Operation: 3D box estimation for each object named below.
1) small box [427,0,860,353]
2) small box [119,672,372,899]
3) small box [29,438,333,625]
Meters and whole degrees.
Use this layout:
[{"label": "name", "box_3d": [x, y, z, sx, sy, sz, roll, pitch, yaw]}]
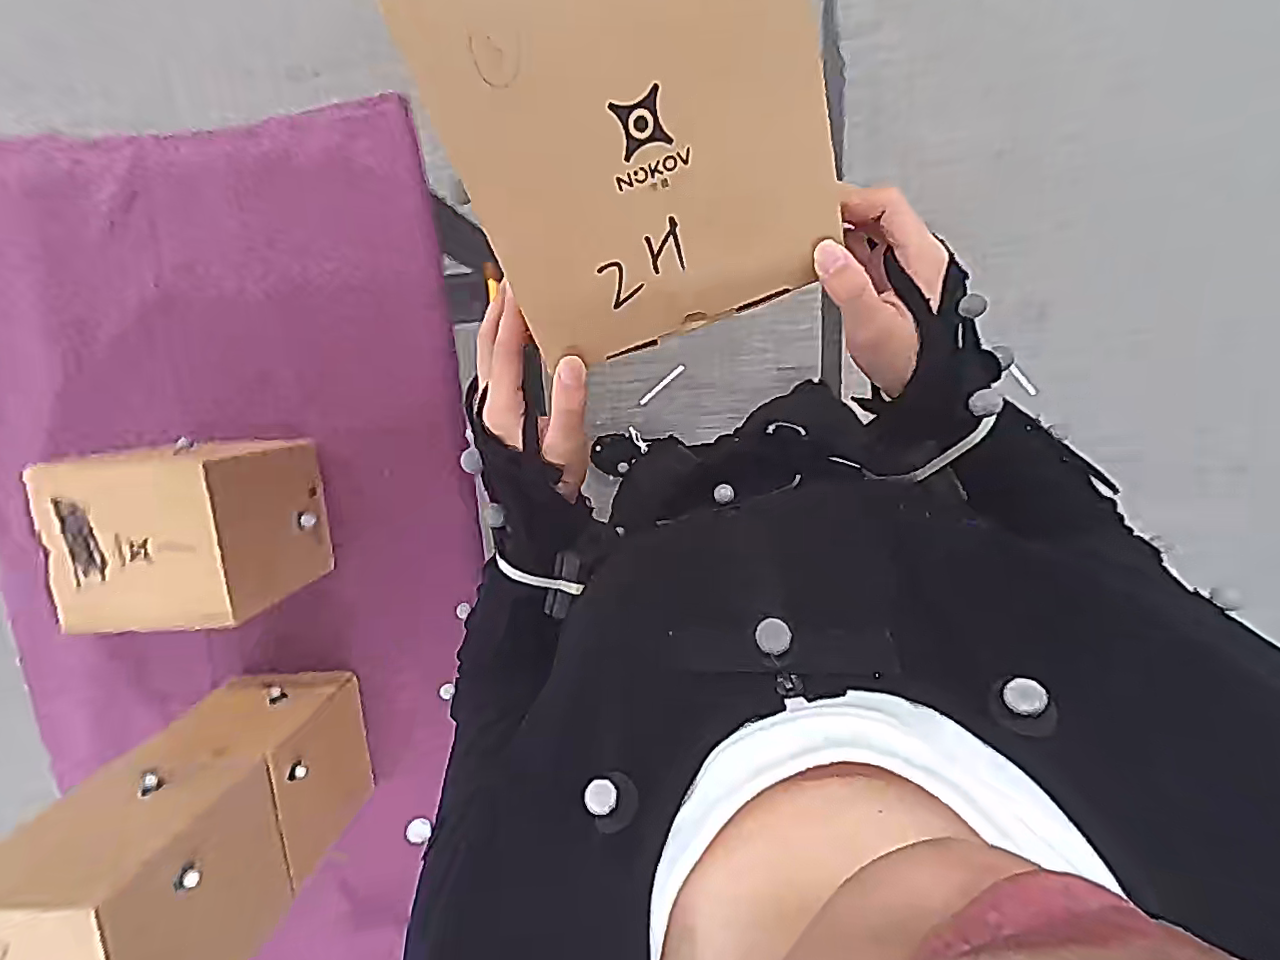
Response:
[{"label": "small box", "box_3d": [0.003, -0.200, 0.310, 0.168, 0.176, 0.179, -18, 121, 5]}, {"label": "small box", "box_3d": [-0.449, 0.354, 0.648, 0.168, 0.176, 0.179, -4, 100, 3]}, {"label": "small box", "box_3d": [-0.476, 0.046, 0.590, 0.179, 0.176, 0.168, -2, 101, 2]}]
